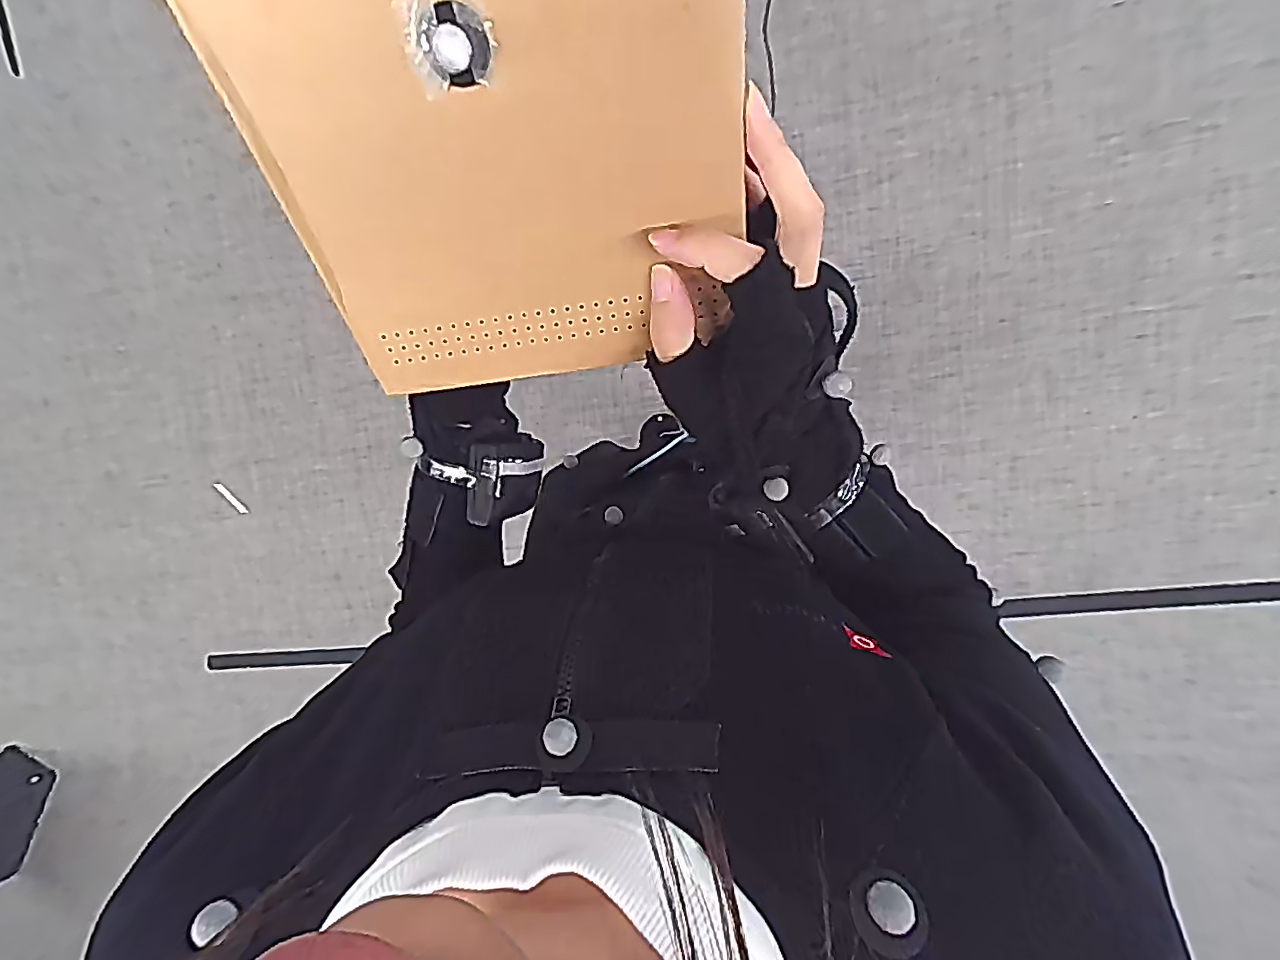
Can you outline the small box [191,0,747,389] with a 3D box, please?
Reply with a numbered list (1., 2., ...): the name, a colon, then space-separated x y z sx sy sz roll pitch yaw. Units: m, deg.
1. small box: -0.047 -0.160 0.263 0.179 0.168 0.176 -7 134 4
